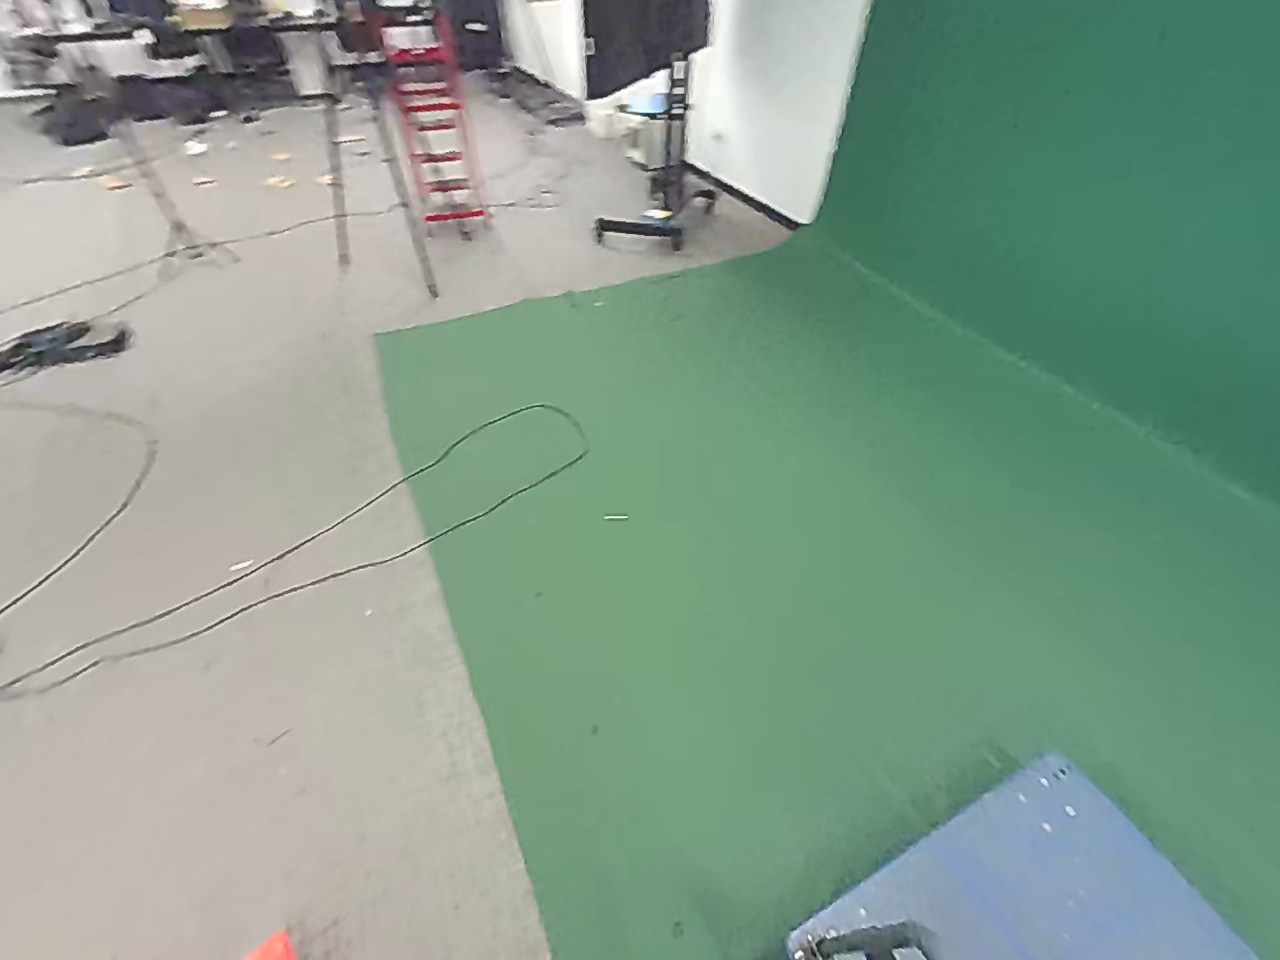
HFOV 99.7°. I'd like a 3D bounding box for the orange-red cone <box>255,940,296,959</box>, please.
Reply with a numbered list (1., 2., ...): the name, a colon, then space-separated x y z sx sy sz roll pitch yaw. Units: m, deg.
1. orange-red cone: -0.816 1.016 1.019 0.198 0.360 0.199 -32 53 -28
